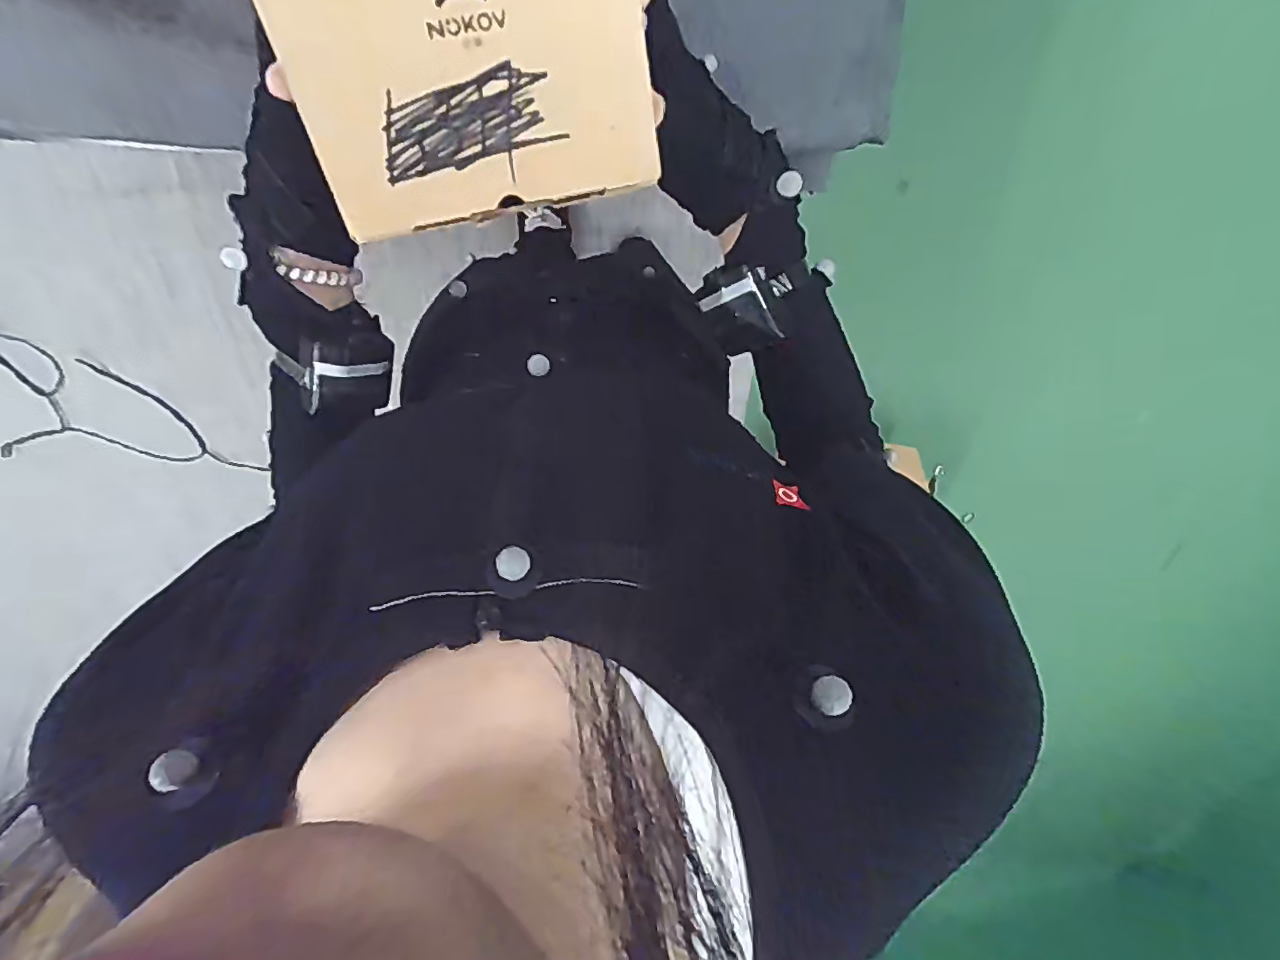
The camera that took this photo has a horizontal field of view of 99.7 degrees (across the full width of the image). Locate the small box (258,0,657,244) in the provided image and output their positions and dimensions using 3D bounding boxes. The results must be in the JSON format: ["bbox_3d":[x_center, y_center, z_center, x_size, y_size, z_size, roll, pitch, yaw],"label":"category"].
[{"bbox_3d":[-0.098,-0.252,0.306,0.168,0.176,0.179,-15,123,-7],"label":"small box"}]
